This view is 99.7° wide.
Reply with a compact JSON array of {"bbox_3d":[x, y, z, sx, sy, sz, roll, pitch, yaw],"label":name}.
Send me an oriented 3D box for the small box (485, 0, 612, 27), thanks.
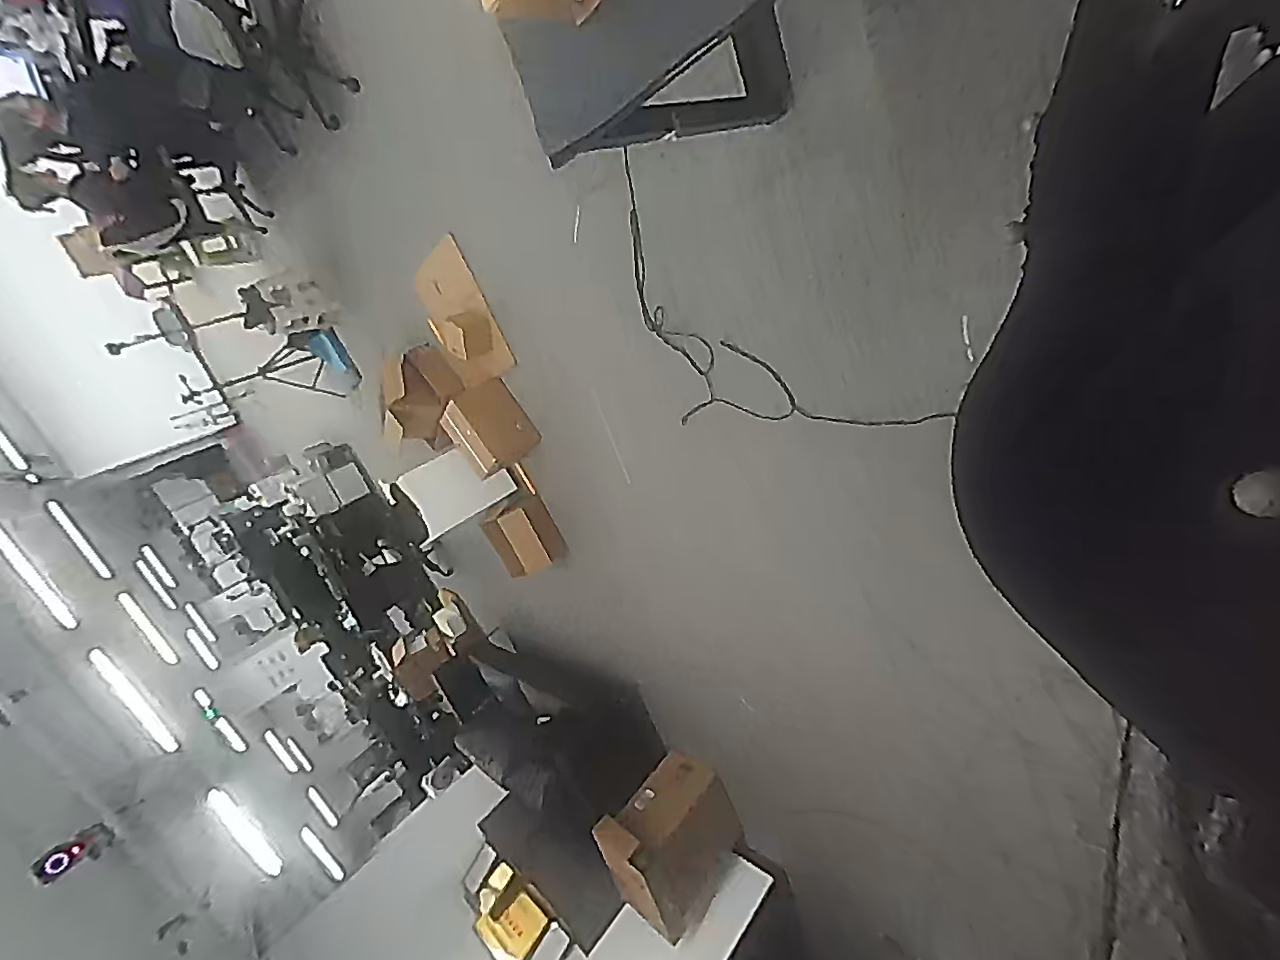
[{"bbox_3d":[-0.117,-0.732,0.697,0.168,0.176,0.179,-2,114,48],"label":"small box"}]
